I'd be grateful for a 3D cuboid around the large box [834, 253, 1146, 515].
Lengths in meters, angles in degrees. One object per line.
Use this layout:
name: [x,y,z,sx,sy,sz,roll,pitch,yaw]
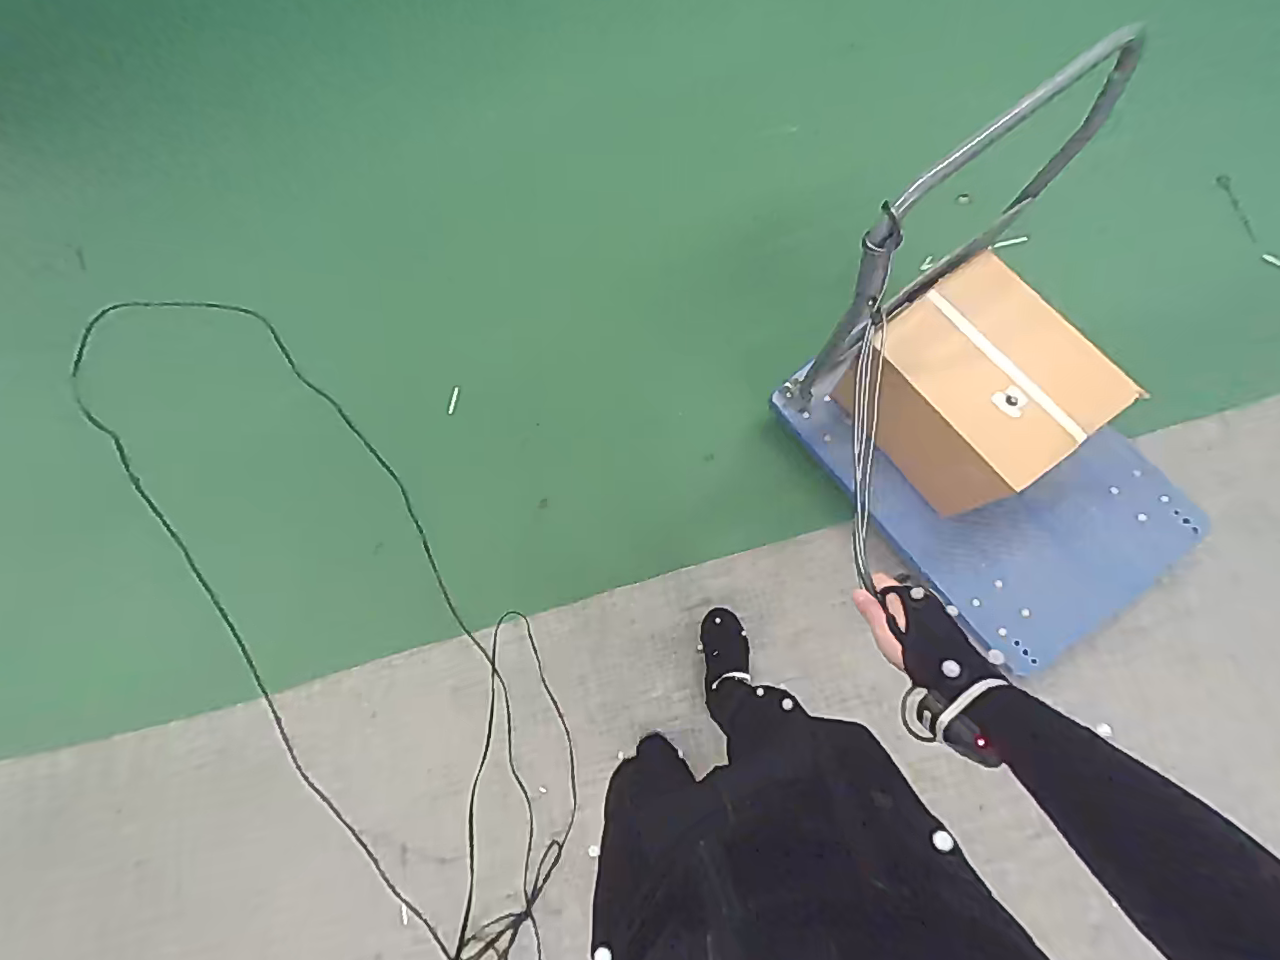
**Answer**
large box: [0.706,-0.186,1.173,0.320,0.320,0.408,-38,78,-3]
